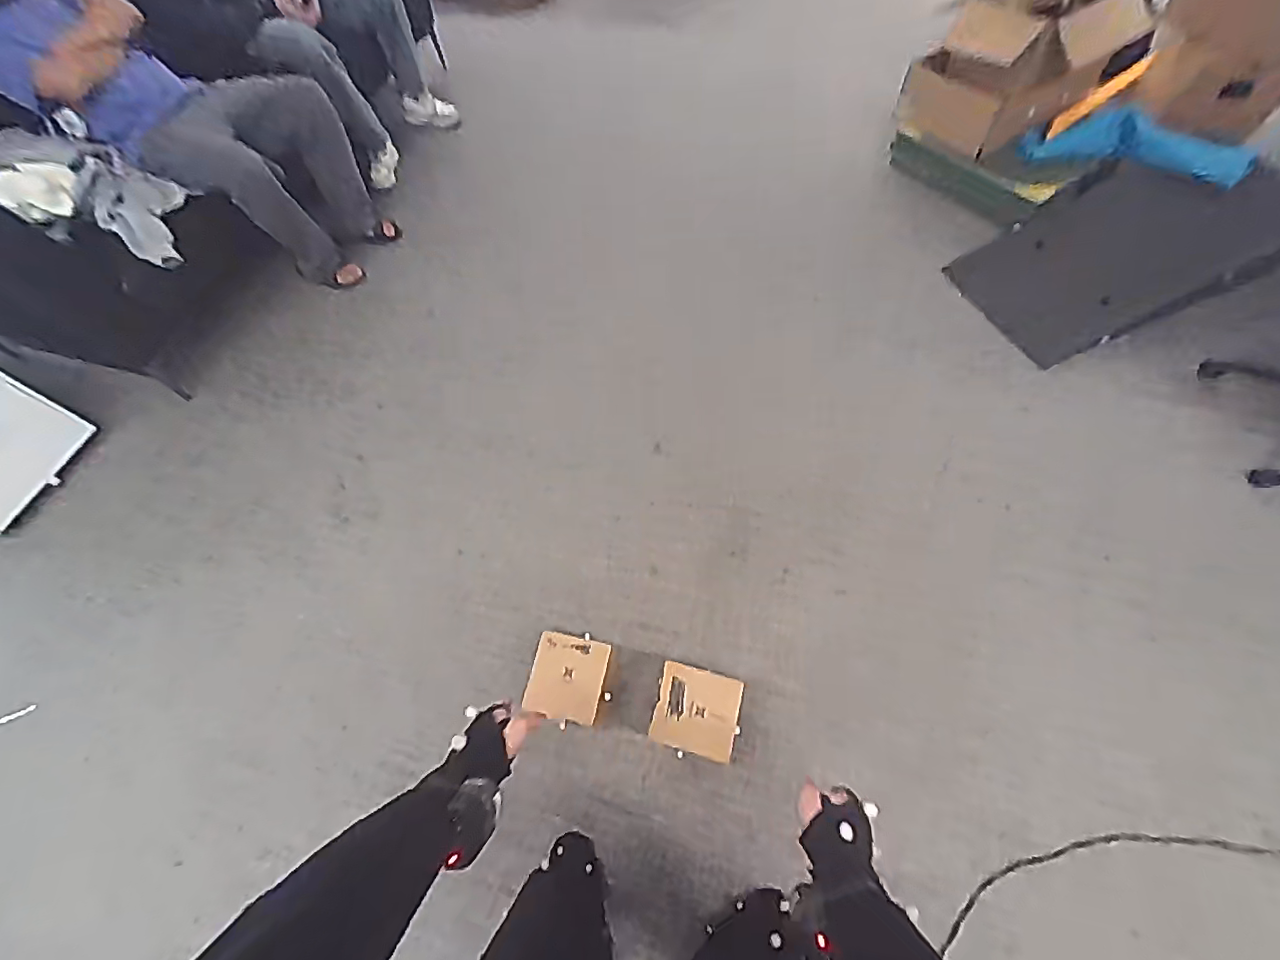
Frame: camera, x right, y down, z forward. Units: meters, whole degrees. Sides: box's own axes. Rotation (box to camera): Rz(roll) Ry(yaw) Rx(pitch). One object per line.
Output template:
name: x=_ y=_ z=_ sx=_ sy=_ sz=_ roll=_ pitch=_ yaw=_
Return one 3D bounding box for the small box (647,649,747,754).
small box: x=0.130 y=0.504 z=1.220 sx=0.179 sy=0.176 sz=0.168 roll=16 pitch=67 yaw=14

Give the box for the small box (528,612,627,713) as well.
small box: x=-0.144 y=0.437 z=1.278 sx=0.179 sy=0.176 sz=0.168 roll=-18 pitch=60 yaw=-2
